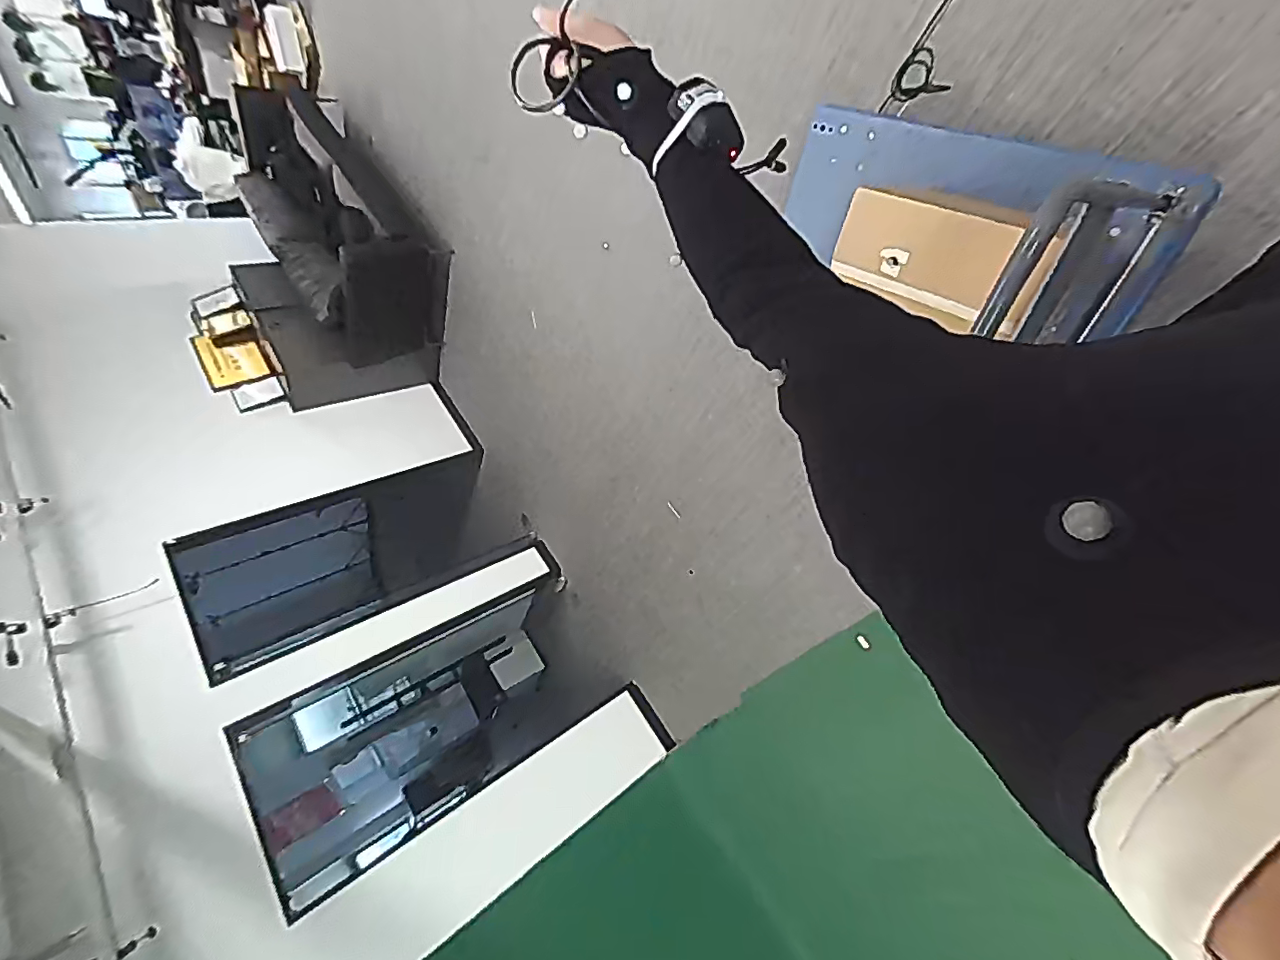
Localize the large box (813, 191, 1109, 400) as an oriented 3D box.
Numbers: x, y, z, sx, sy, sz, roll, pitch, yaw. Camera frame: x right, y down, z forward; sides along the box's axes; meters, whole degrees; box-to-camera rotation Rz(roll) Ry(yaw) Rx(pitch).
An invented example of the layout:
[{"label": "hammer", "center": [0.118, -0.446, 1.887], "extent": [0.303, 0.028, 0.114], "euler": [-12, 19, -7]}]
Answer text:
[{"label": "large box", "center": [0.671, -0.421, 1.175], "extent": [0.408, 0.320, 0.320], "euler": [40, 135, 35]}]
